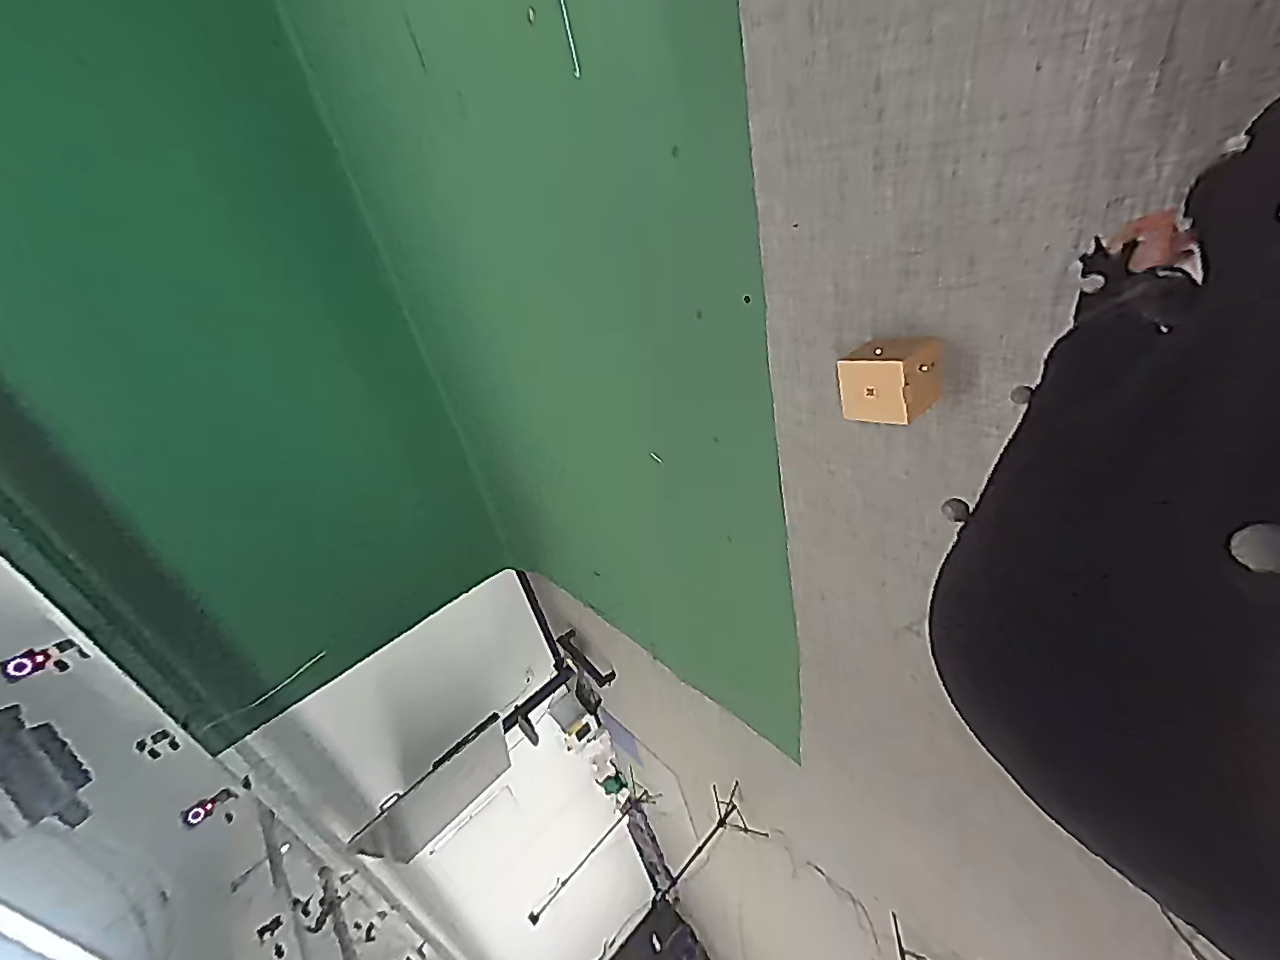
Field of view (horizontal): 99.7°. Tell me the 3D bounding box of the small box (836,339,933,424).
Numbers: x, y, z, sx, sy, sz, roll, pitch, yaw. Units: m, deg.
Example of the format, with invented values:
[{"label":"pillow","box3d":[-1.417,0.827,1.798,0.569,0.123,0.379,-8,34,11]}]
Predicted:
[{"label":"small box","box3d":[0.635,-0.257,1.392,0.179,0.176,0.168,15,129,50]}]
